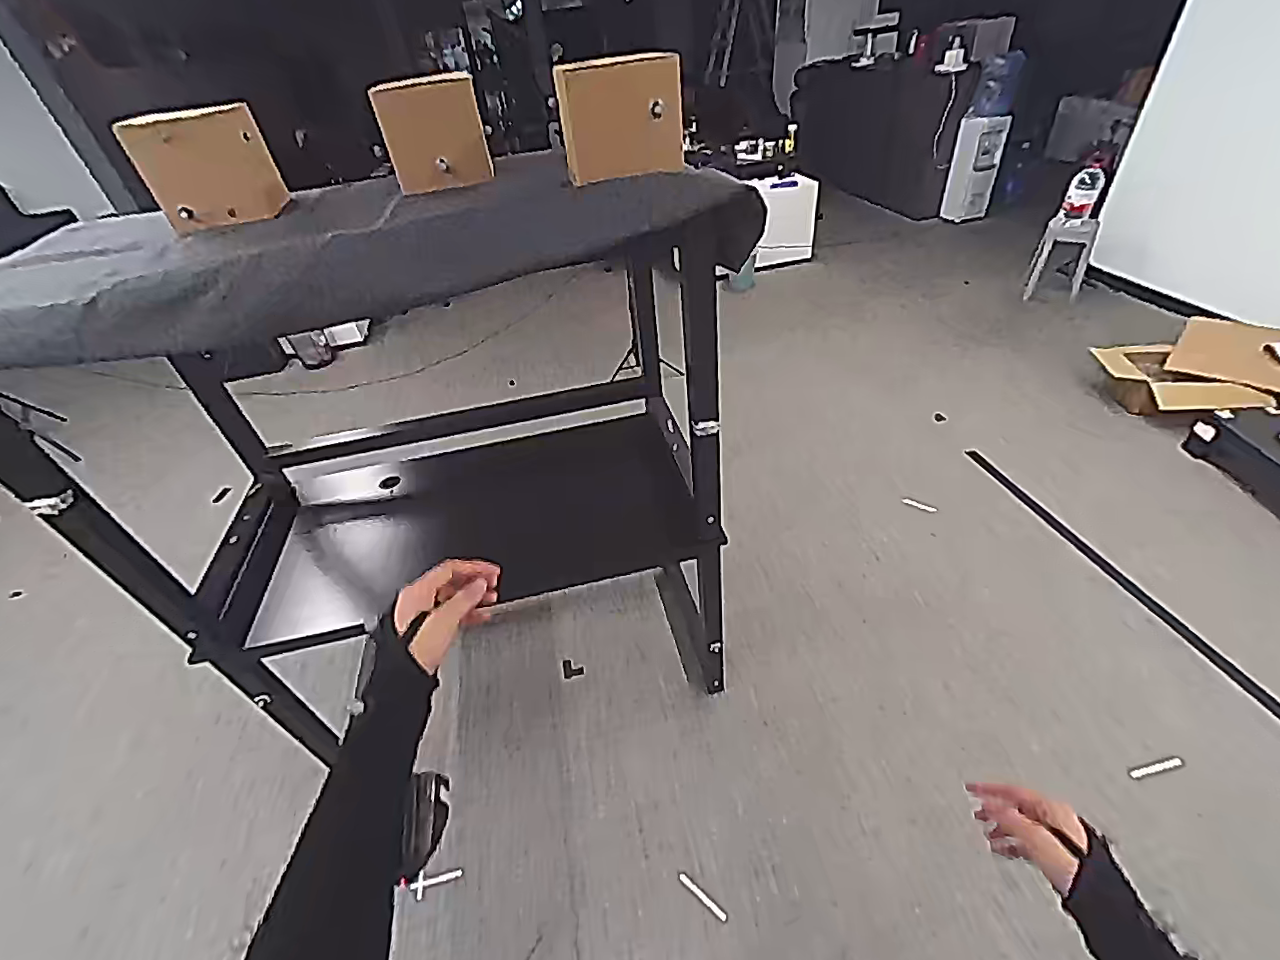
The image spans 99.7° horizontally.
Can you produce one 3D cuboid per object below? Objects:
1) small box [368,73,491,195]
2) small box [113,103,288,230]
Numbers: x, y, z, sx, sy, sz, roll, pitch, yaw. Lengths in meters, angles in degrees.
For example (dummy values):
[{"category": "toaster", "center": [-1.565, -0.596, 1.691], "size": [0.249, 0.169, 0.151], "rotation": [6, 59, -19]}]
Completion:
[{"category": "small box", "center": [-0.392, -0.668, 1.044], "size": [0.179, 0.176, 0.168], "rotation": [-12, 40, -6]}, {"category": "small box", "center": [-0.786, -0.573, 0.994], "size": [0.168, 0.176, 0.179], "rotation": [-15, 40, -9]}]
